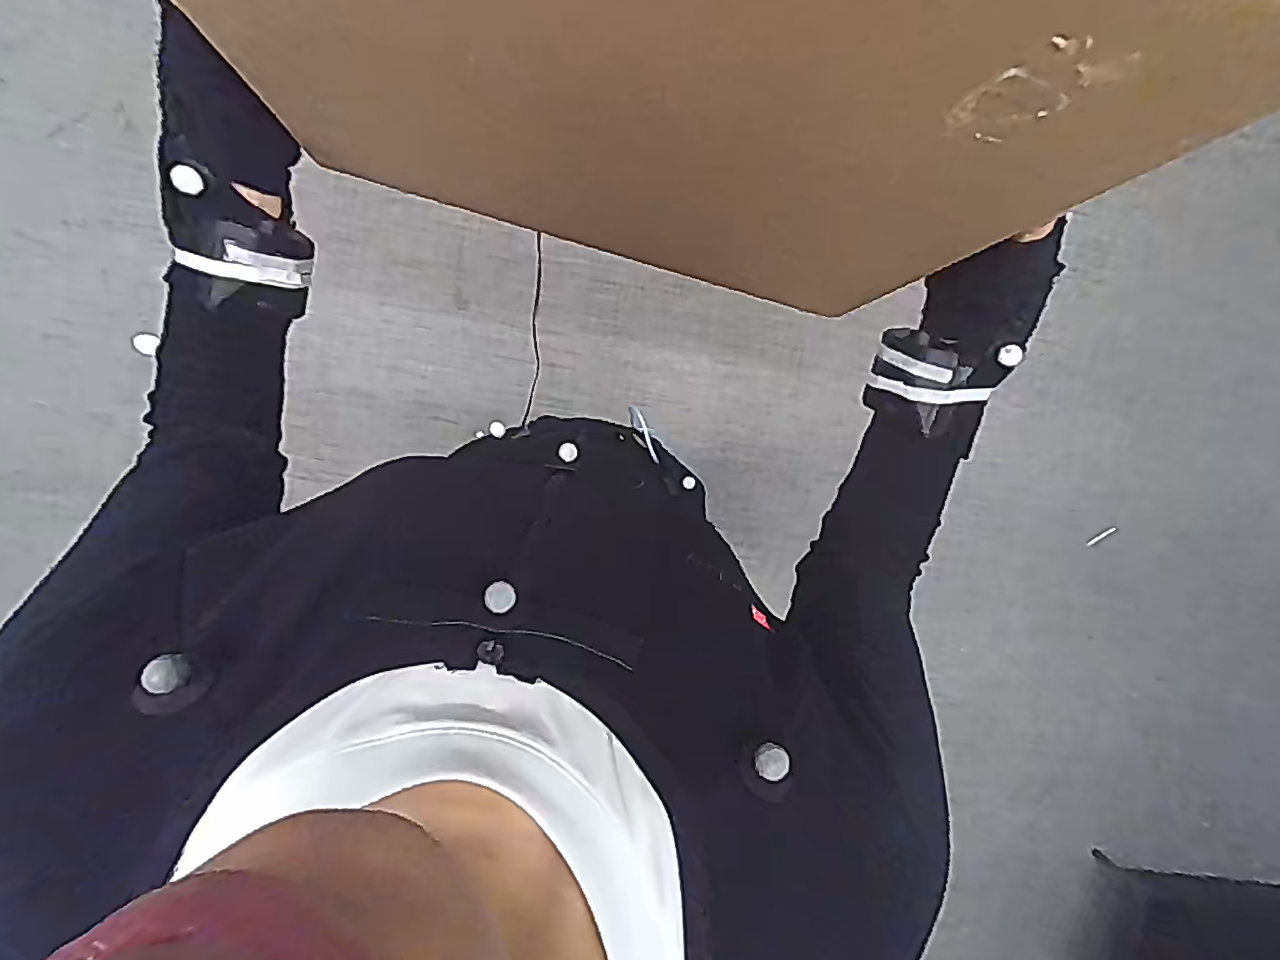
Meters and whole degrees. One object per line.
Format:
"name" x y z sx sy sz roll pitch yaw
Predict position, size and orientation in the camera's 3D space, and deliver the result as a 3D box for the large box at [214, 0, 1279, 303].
"large box" 0.028 -0.321 0.259 0.408 0.320 0.320 13 92 -10
